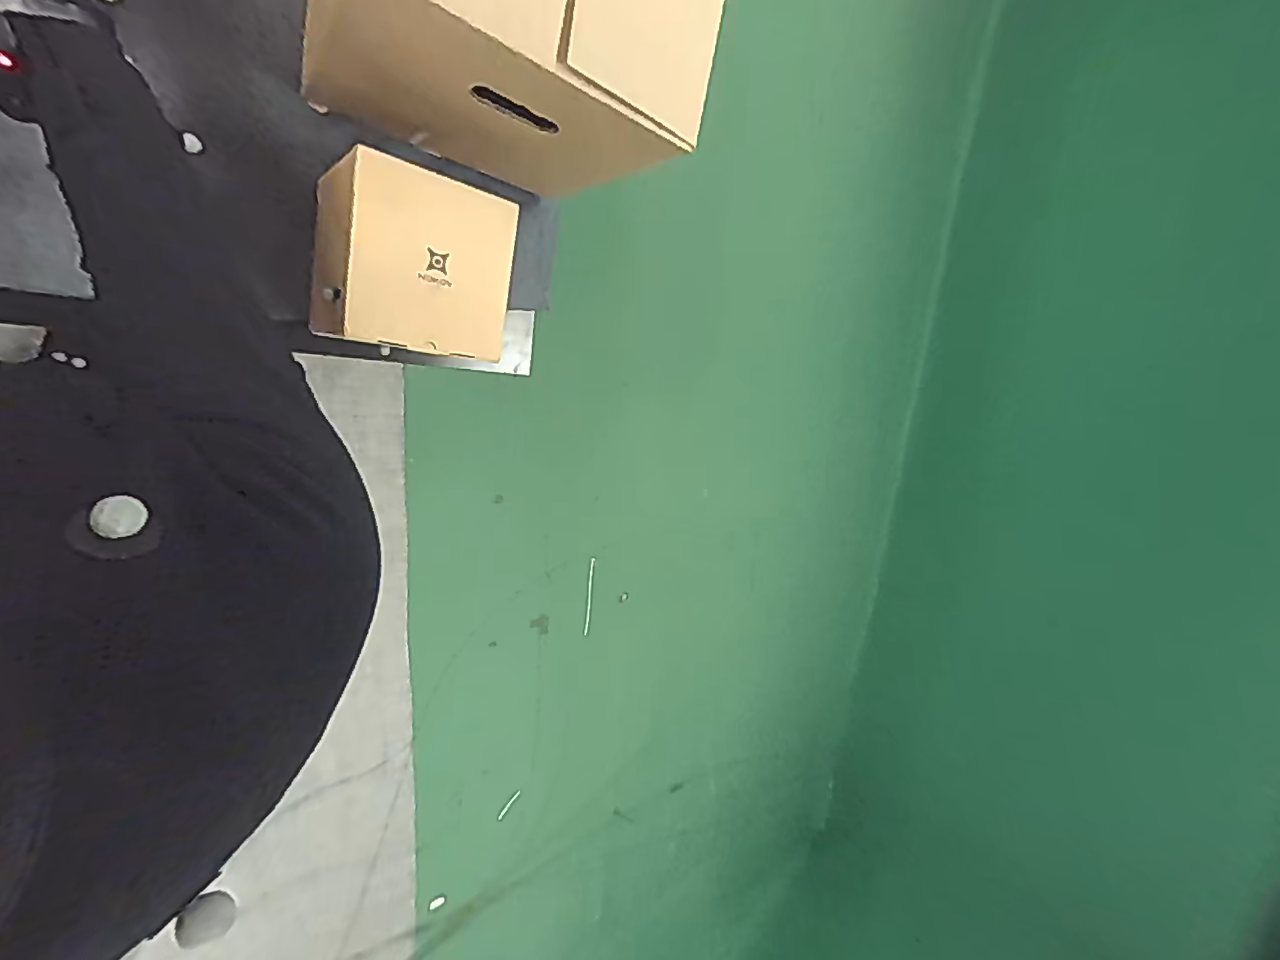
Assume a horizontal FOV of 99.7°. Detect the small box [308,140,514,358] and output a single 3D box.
[{"bbox_3d":[-0.266,-0.247,0.616,0.168,0.176,0.179,1,105,-42],"label":"small box"}]
